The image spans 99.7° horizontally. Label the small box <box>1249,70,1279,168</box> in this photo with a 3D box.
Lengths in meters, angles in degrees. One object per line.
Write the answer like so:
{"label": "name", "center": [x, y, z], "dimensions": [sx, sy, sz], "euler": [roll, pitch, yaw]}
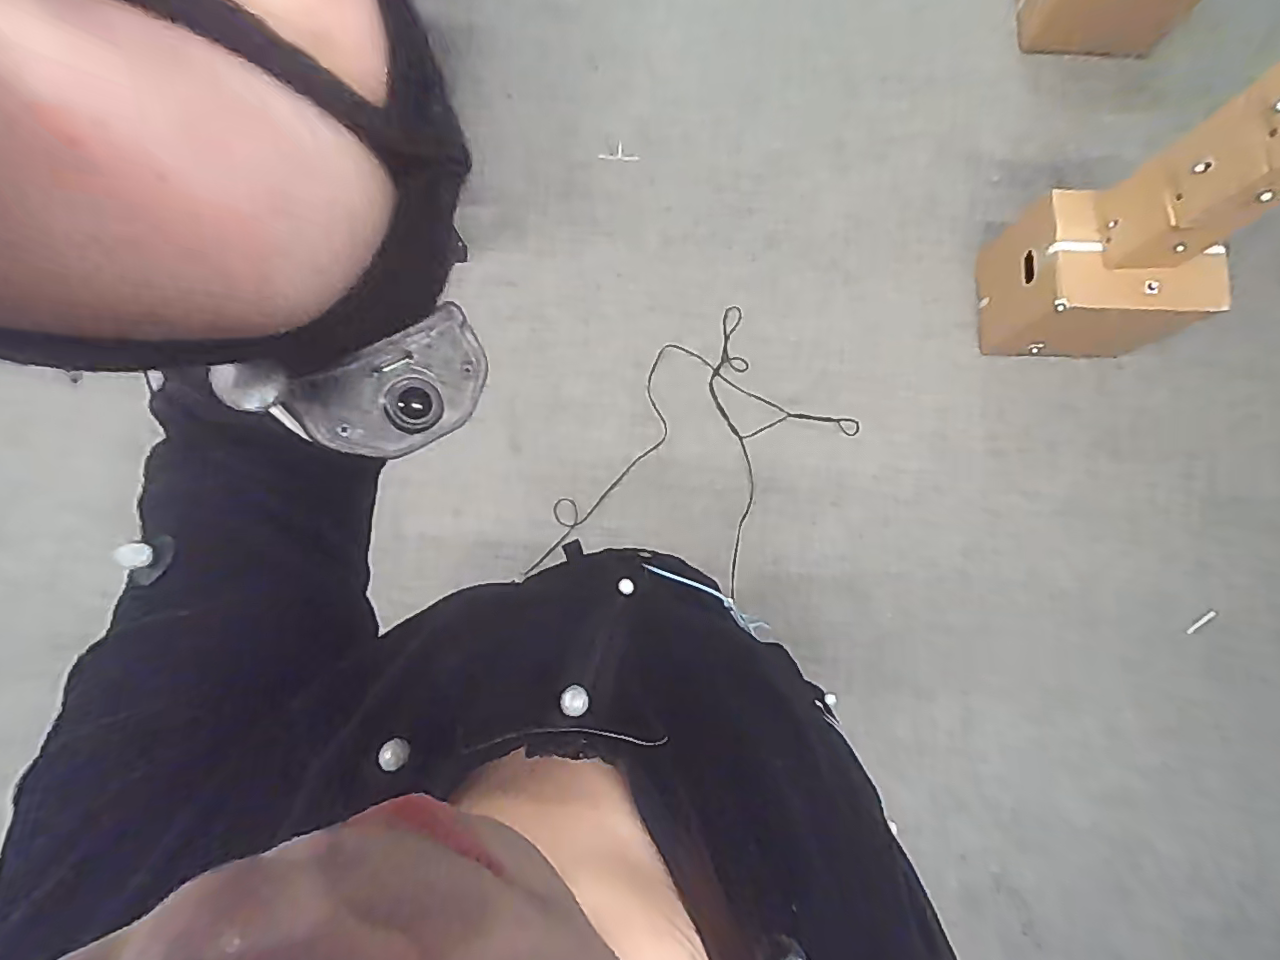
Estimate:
{"label": "small box", "center": [1.196, -0.650, 0.893], "dimensions": [0.179, 0.176, 0.168], "euler": [-6, 80, 0]}

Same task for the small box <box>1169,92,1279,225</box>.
{"label": "small box", "center": [1.196, -0.624, 1.056], "dimensions": [0.179, 0.176, 0.168], "euler": [-6, 81, 1]}

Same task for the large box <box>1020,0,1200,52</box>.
{"label": "large box", "center": [1.422, -1.532, 1.590], "dimensions": [0.408, 0.320, 0.320], "euler": [3, 82, 0]}
